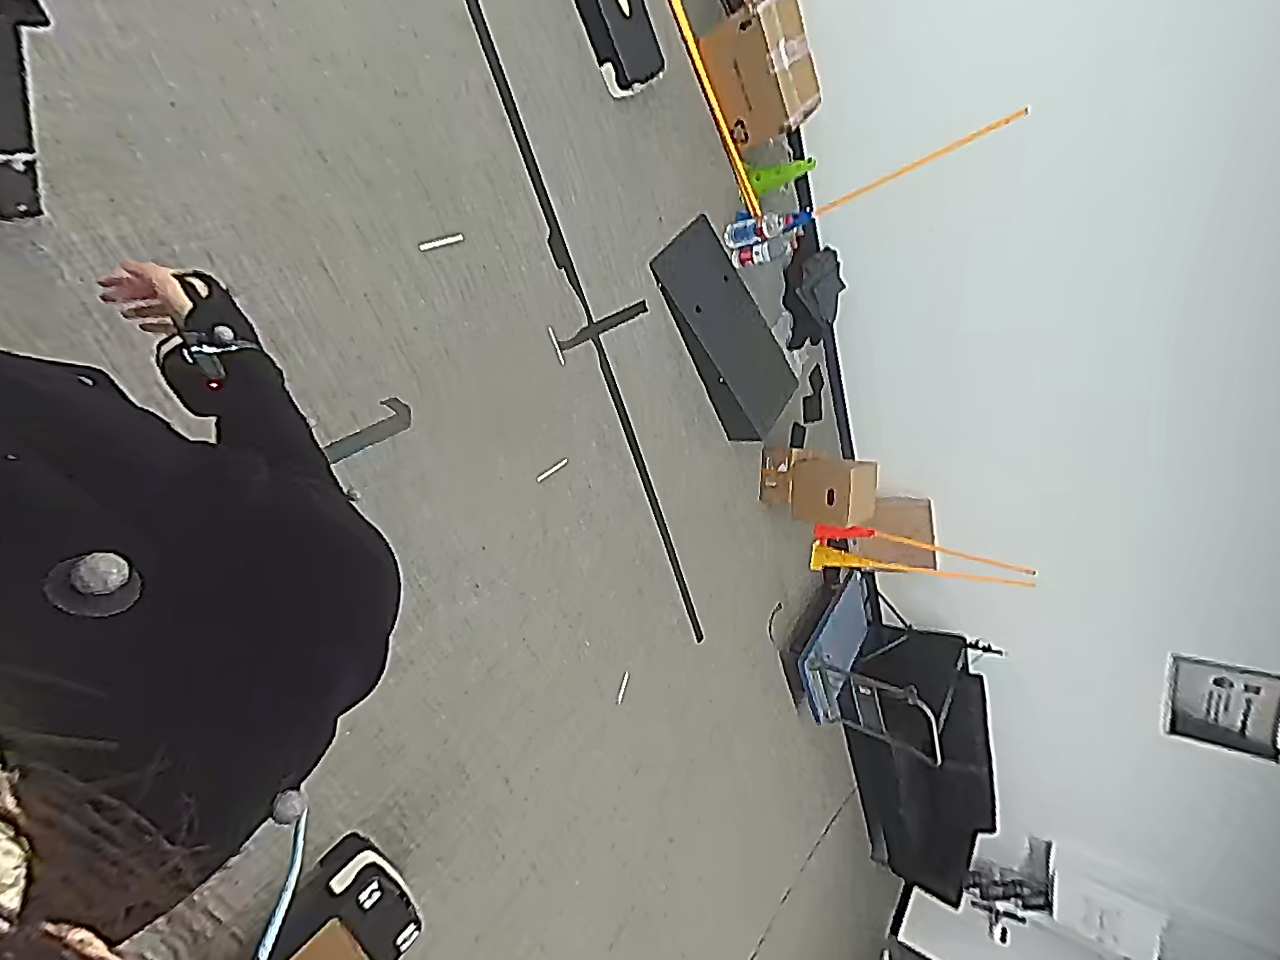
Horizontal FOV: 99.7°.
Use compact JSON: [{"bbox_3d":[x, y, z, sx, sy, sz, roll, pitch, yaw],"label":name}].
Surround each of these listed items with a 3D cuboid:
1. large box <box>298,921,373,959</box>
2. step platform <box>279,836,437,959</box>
[{"bbox_3d":[-0.688,1.277,1.118,0.408,0.320,0.320,-36,119,-41],"label":"large box"},{"bbox_3d":[-0.847,1.250,1.295,0.684,0.204,0.286,-33,116,-42],"label":"step platform"}]
